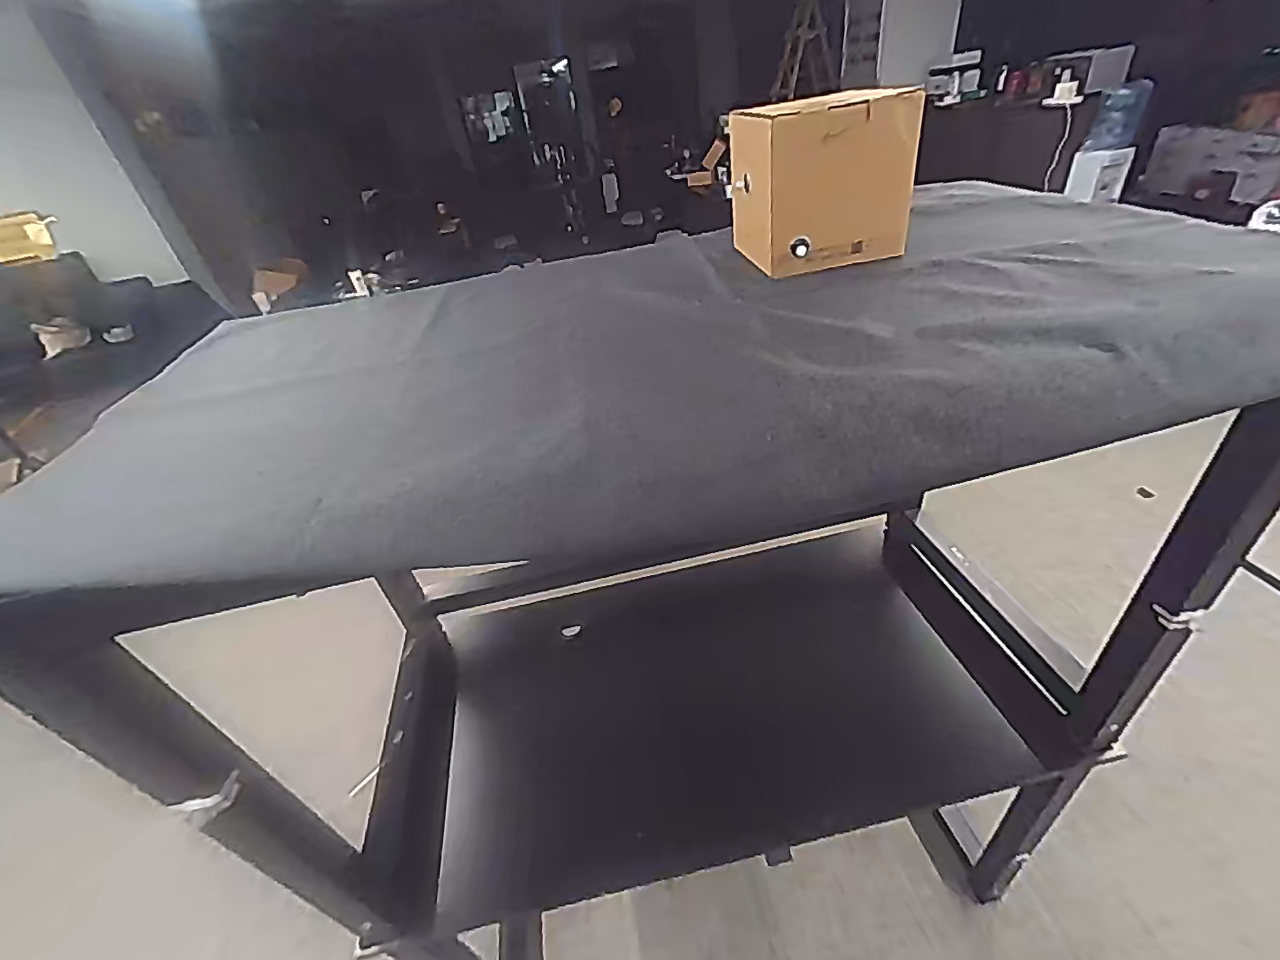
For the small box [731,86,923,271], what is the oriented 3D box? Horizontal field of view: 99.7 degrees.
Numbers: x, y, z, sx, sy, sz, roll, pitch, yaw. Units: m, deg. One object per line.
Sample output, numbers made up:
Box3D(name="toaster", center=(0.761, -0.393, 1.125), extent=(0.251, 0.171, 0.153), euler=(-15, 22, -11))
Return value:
Box3D(name="small box", center=(0.218, -0.370, 0.672), extent=(0.168, 0.176, 0.179), euler=(-11, 35, -1))
